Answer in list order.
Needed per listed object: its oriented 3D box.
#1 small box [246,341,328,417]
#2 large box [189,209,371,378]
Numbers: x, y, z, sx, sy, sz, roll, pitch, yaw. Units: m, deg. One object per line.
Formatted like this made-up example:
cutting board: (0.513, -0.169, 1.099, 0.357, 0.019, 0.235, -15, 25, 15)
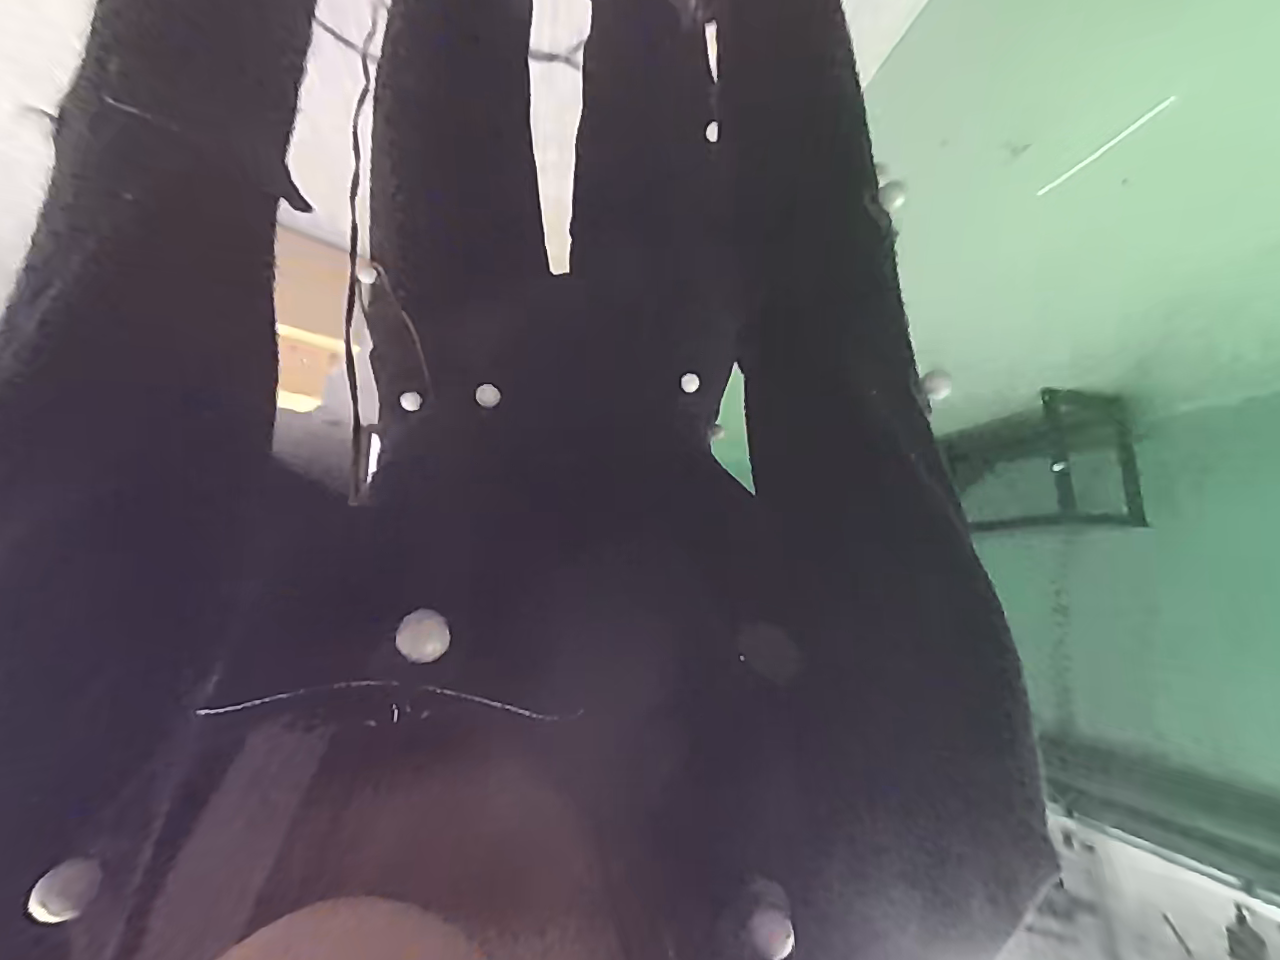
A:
small box: (-1.093, -0.310, 1.681, 0.179, 0.176, 0.168, -9, 165, 41)
large box: (-1.117, -0.556, 1.694, 0.408, 0.320, 0.320, 13, 163, -42)
